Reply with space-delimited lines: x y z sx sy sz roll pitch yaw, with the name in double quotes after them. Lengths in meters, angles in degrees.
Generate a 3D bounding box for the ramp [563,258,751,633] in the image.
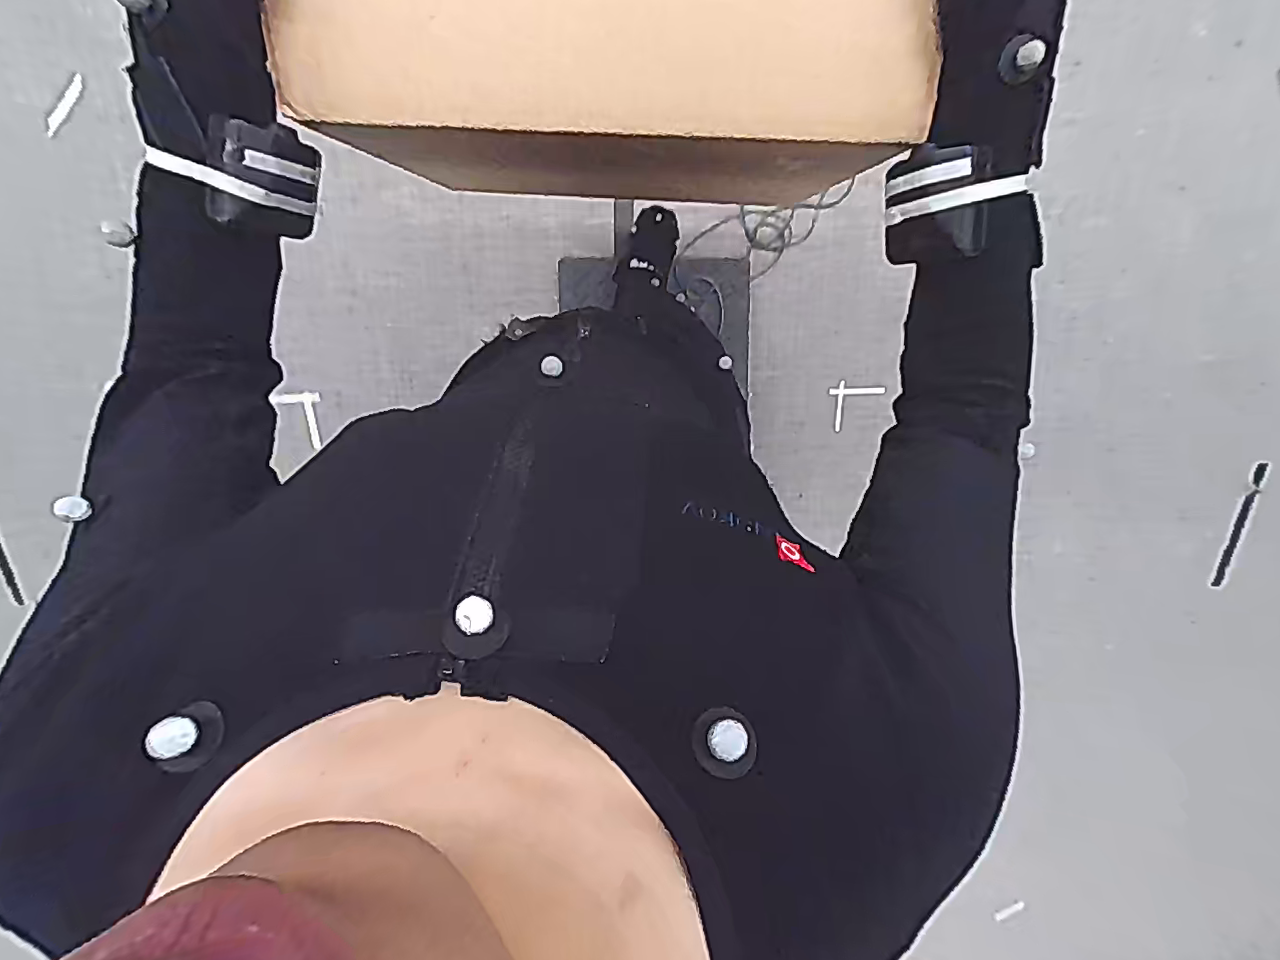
0.049 -0.071 1.450 0.509 0.206 0.991 -2 107 1 "ramp"

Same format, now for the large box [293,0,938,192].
-0.014 -0.431 0.439 0.408 0.320 0.320 2 111 -1 "large box"
